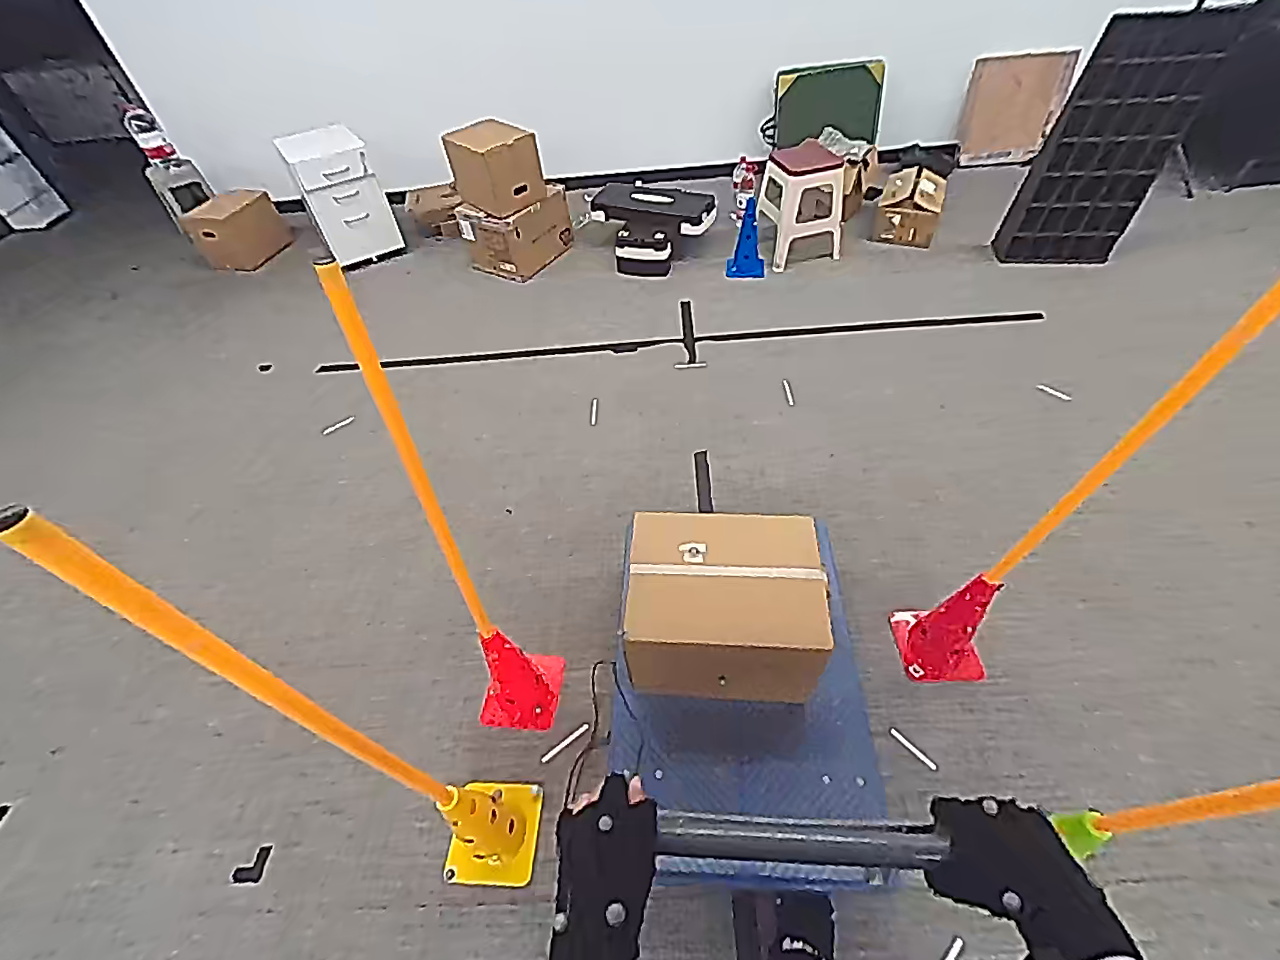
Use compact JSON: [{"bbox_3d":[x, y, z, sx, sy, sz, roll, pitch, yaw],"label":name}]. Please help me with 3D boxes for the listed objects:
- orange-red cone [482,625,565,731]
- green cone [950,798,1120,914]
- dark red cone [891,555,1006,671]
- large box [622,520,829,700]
[{"bbox_3d":[-0.326,0.461,1.356,0.198,0.360,0.199,3,48,7],"label":"orange-red cone"},{"bbox_3d":[0.785,0.689,1.035,0.202,0.368,0.200,0,49,5],"label":"green cone"},{"bbox_3d":[0.799,0.314,1.343,0.201,0.394,0.202,-2,49,1],"label":"dark red cone"},{"bbox_3d":[0.186,0.303,1.249,0.408,0.320,0.320,0,50,7],"label":"large box"}]
